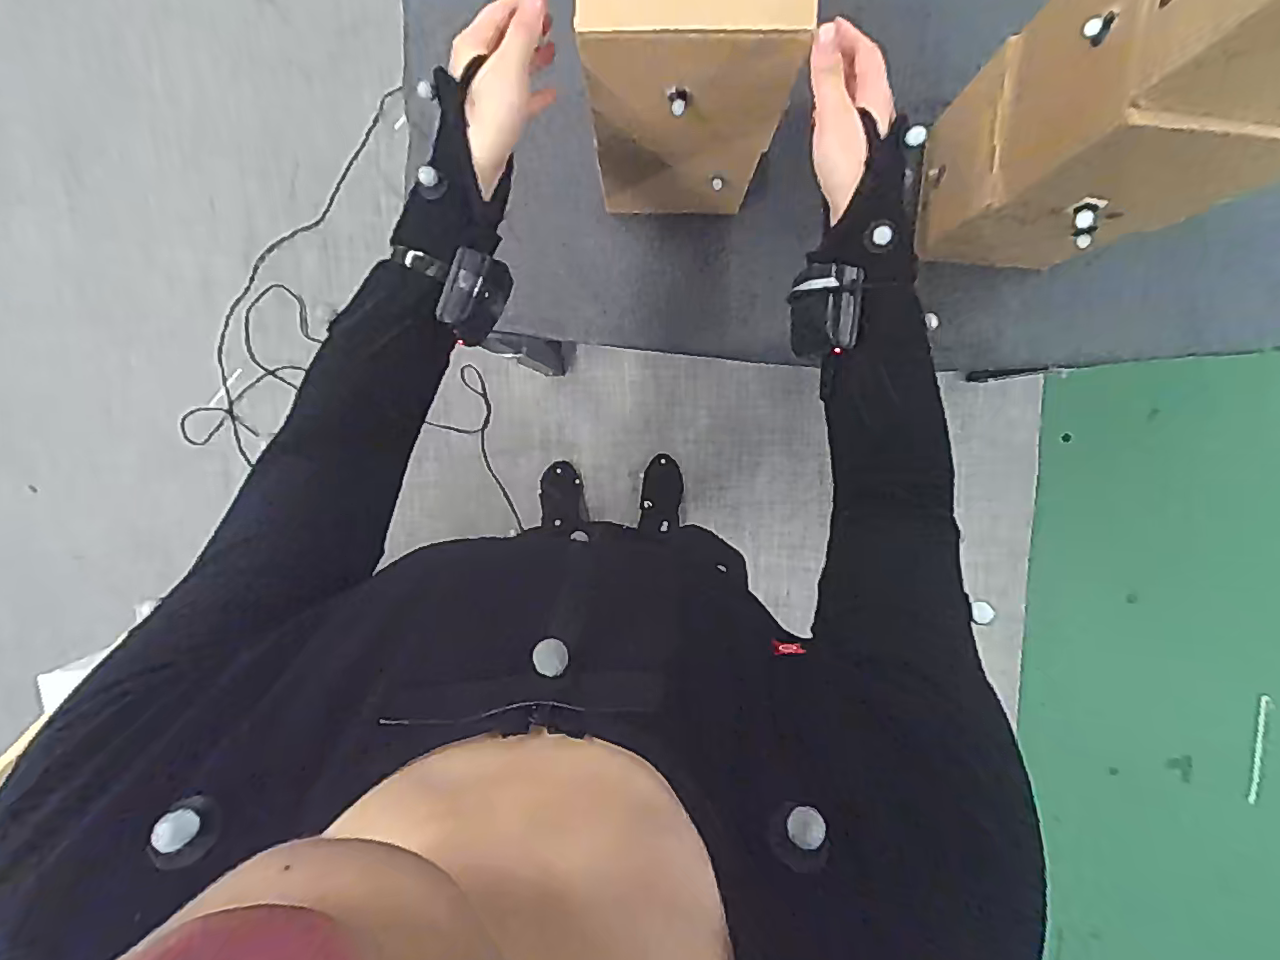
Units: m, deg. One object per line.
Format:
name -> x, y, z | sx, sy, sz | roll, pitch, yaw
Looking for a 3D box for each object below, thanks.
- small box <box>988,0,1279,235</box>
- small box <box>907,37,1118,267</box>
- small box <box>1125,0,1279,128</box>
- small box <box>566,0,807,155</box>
small box -> 0.432, -0.333, 0.457 | 0.168, 0.176, 0.179 | 7, 96, 3
small box -> 0.438, -0.354, 0.618 | 0.179, 0.176, 0.168 | 5, 94, 1
small box -> 0.428, -0.322, 0.293 | 0.179, 0.176, 0.168 | 9, 95, 3
small box -> 0.036, -0.404, 0.462 | 0.179, 0.176, 0.168 | 1, 95, 2
